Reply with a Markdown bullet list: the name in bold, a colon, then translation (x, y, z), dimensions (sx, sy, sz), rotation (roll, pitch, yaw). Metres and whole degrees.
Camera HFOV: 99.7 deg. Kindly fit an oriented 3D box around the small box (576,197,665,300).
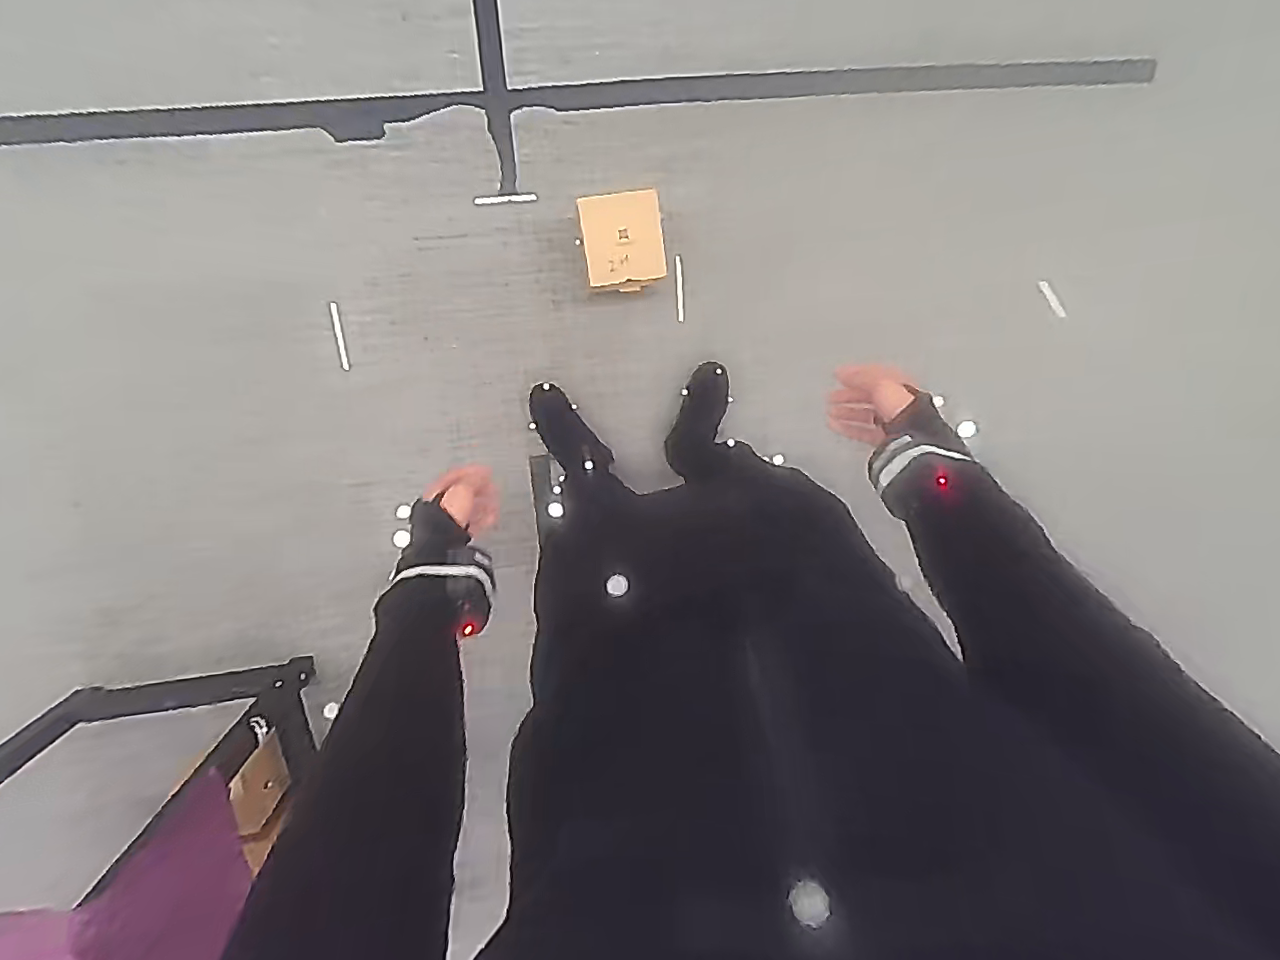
- **small box**: translation (-0.048, -0.505, 1.196), dimensions (0.168, 0.176, 0.179), rotation (-10, 106, -5)
